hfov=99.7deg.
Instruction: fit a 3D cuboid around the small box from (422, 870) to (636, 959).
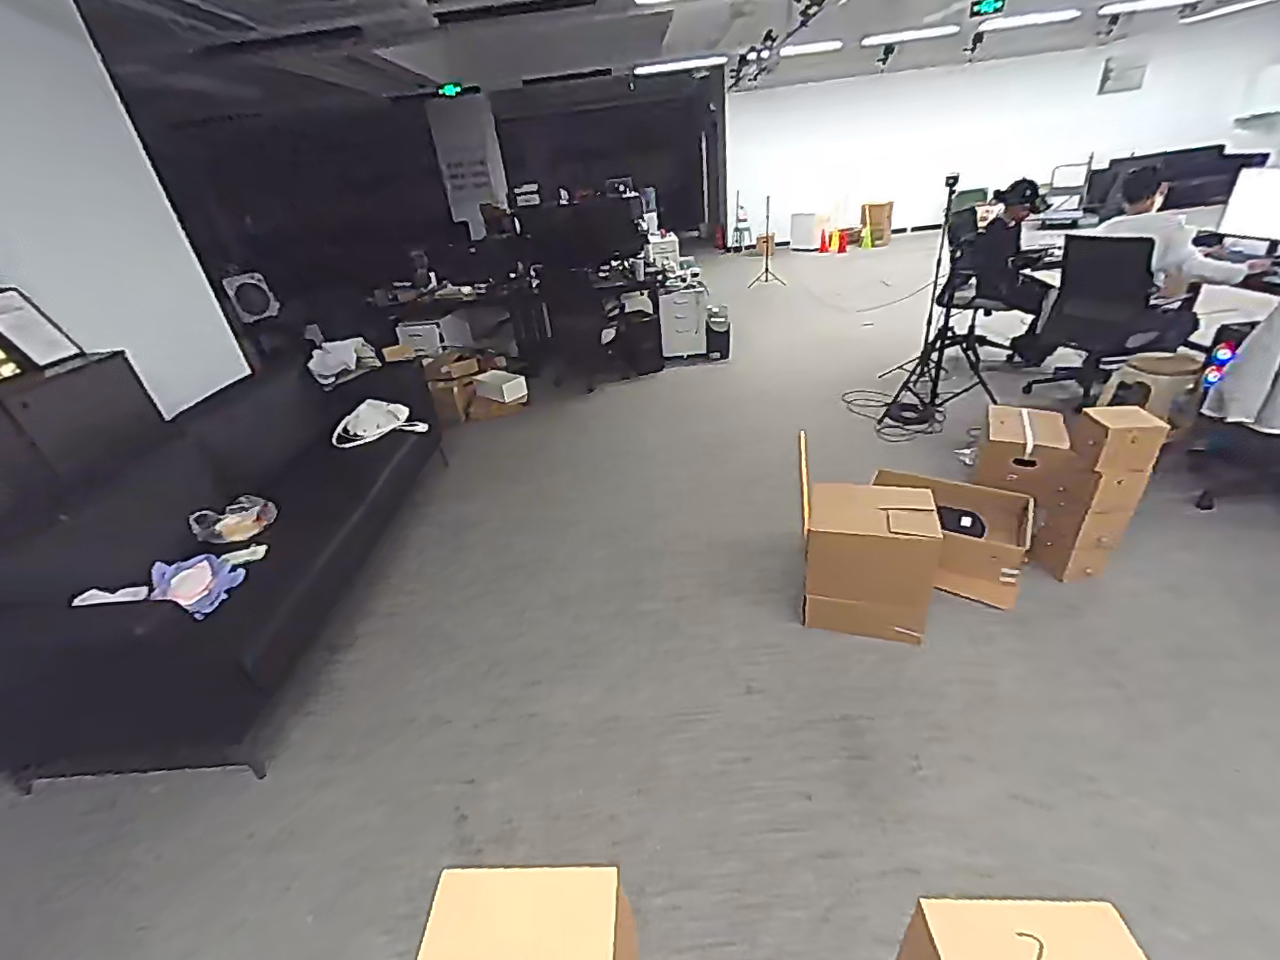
[{"bbox_3d":[-0.093,0.471,0.466,0.168,0.176,0.179,-4,35,5],"label":"small box"}]
